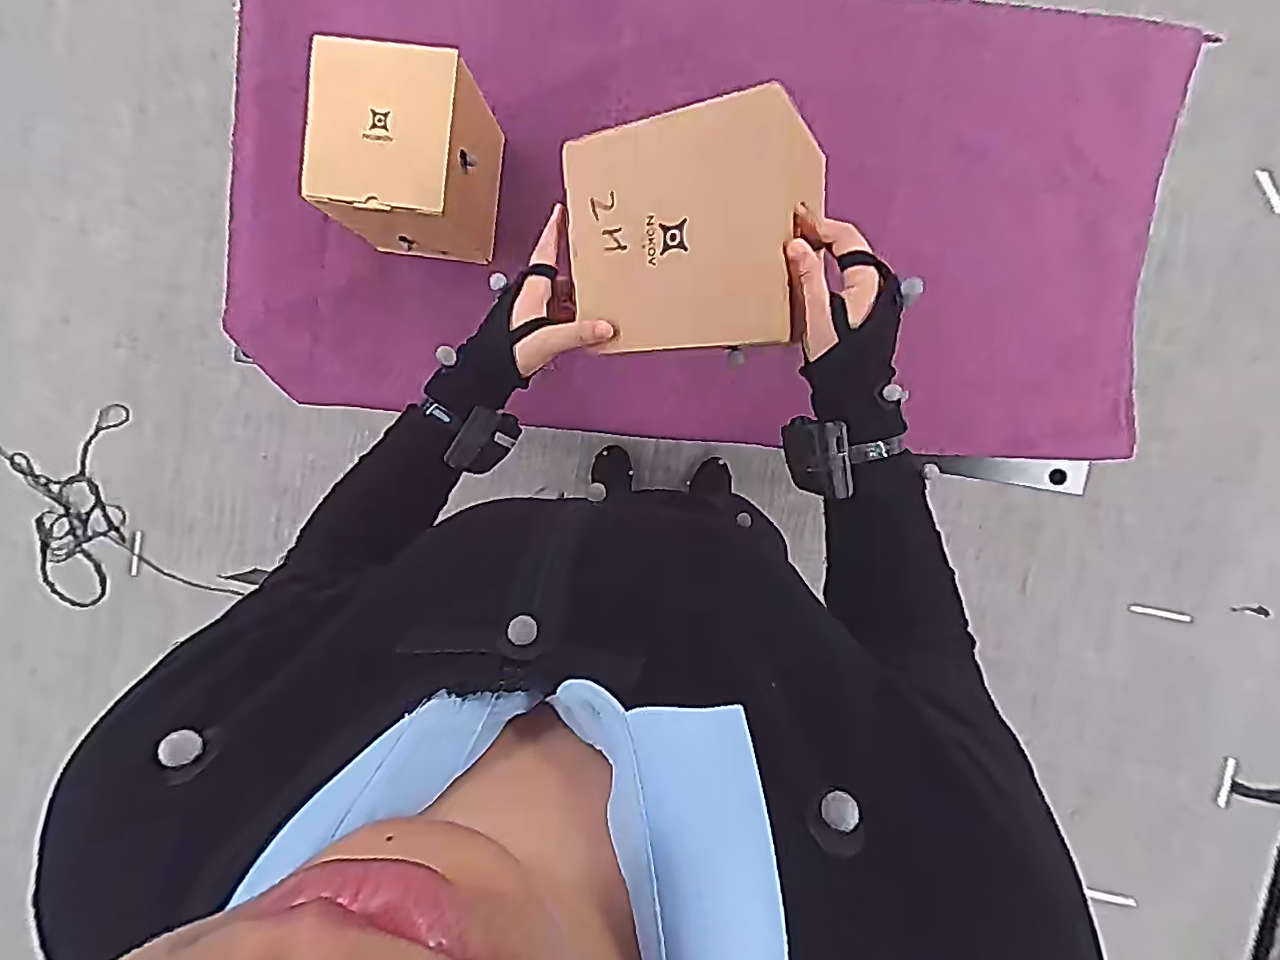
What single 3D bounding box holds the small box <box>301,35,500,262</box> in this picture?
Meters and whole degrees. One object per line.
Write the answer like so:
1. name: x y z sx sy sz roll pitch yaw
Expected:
1. small box: -0.283 -0.395 0.673 0.168 0.176 0.179 7 95 2
